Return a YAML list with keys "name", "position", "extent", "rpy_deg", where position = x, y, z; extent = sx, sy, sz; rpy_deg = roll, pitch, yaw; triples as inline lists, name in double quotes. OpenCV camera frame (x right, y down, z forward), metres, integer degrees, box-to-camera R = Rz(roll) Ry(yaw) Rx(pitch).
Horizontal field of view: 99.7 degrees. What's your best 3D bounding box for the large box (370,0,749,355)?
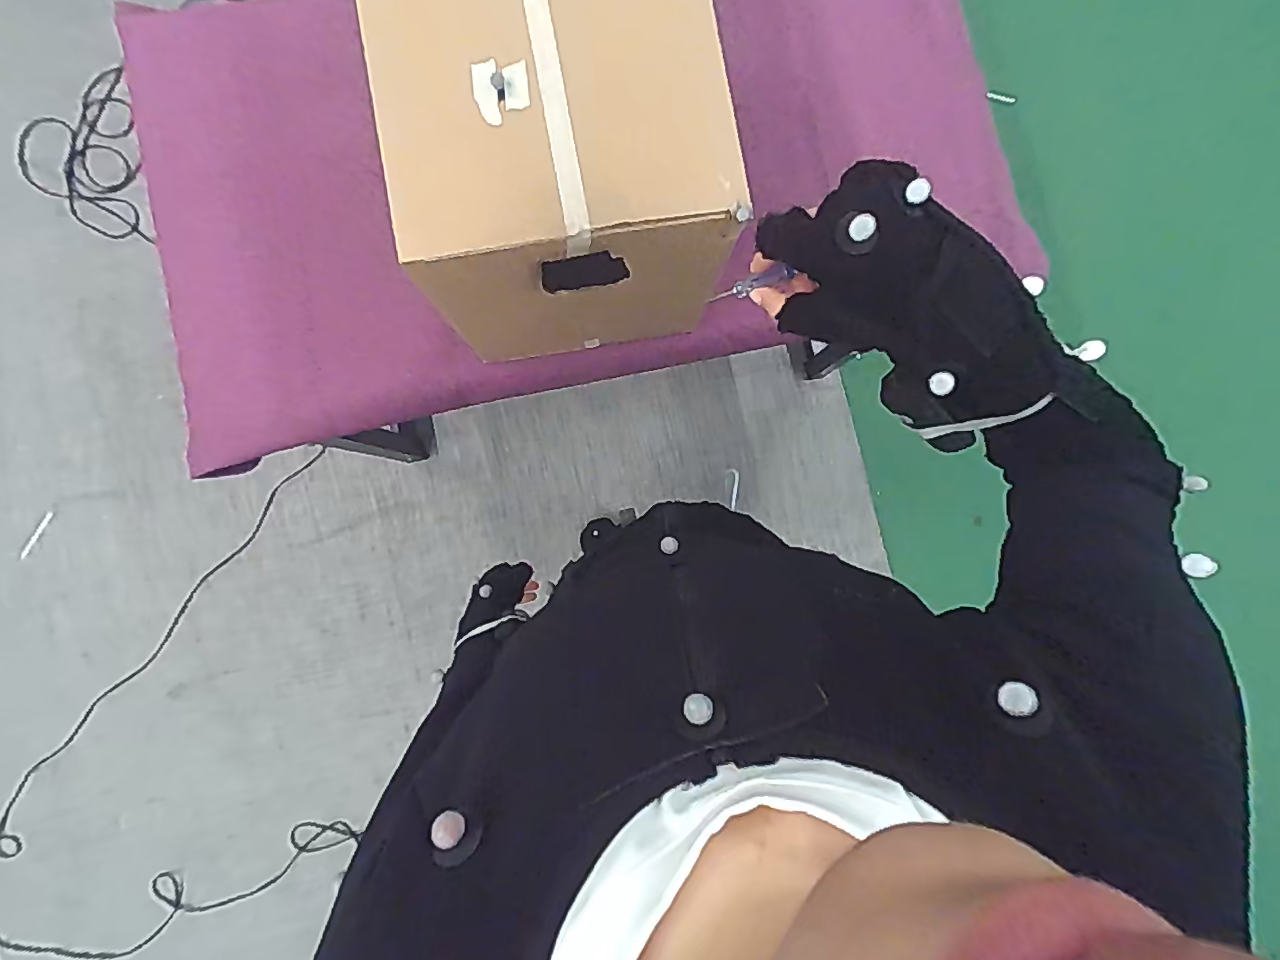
- name: "large box"
  position: [-0.094, -0.404, 0.644]
  extent: [0.320, 0.320, 0.408]
  rpy_deg: [-10, 88, -3]
